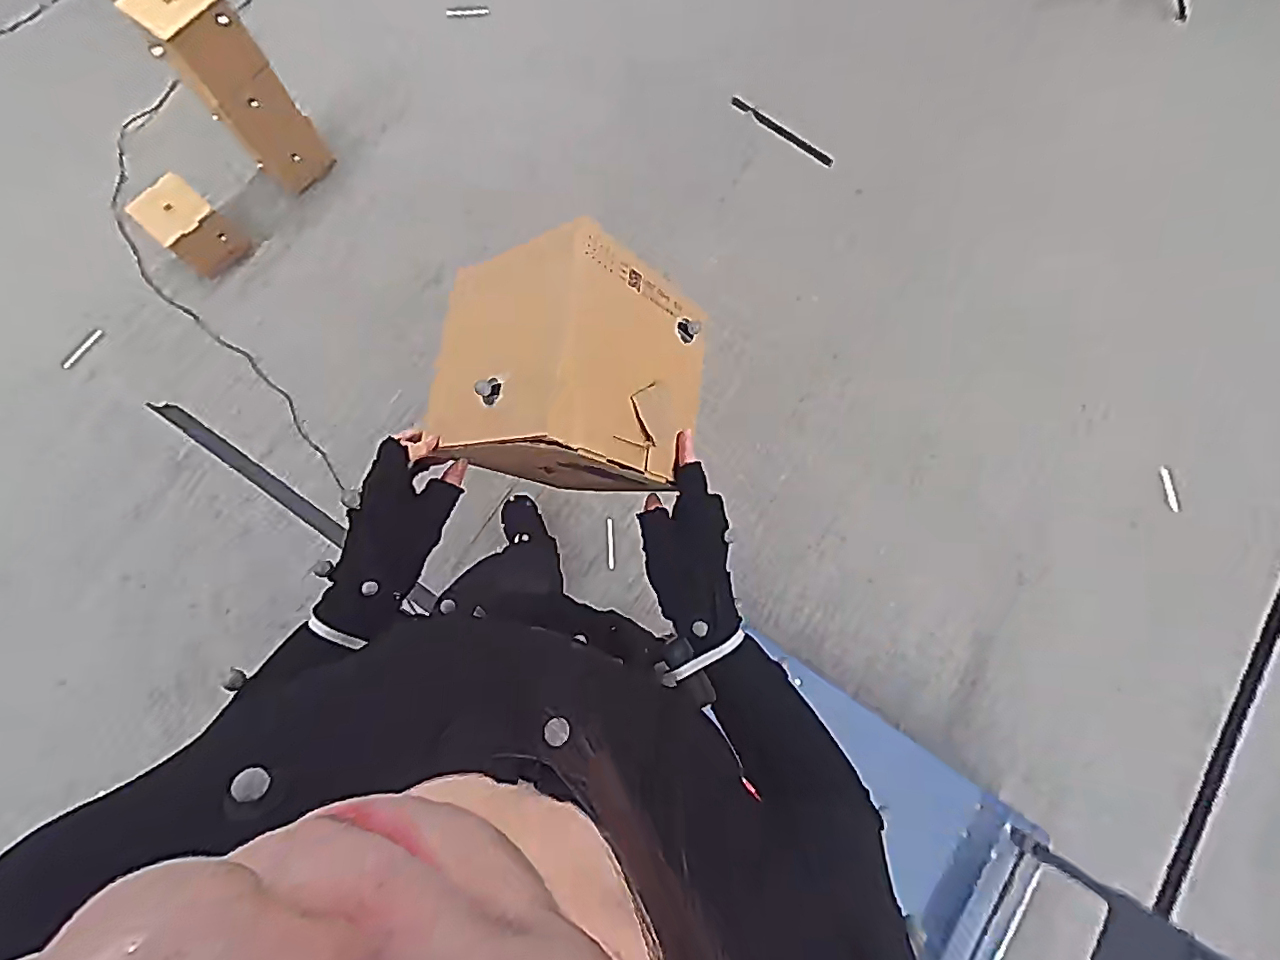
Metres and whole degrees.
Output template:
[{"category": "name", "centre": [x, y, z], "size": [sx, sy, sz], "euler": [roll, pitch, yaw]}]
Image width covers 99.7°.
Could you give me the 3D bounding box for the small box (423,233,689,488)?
[{"category": "small box", "centre": [-0.068, -0.090, 0.488], "size": [0.179, 0.168, 0.176], "euler": [-1, 78, 41]}]

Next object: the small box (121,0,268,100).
[{"category": "small box", "centre": [-1.053, -1.071, 1.297], "size": [0.168, 0.176, 0.179], "euler": [37, 80, 5]}]

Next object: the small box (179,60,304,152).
[{"category": "small box", "centre": [-1.060, -1.038, 1.457], "size": [0.168, 0.176, 0.179], "euler": [40, 80, 5]}]

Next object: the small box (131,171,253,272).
[{"category": "small box", "centre": [-1.280, -0.733, 1.561], "size": [0.179, 0.176, 0.168], "euler": [41, 80, 6]}]

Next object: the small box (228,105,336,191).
[{"category": "small box", "centre": [-1.062, -1.017, 1.621], "size": [0.168, 0.176, 0.179], "euler": [38, 81, 4]}]
